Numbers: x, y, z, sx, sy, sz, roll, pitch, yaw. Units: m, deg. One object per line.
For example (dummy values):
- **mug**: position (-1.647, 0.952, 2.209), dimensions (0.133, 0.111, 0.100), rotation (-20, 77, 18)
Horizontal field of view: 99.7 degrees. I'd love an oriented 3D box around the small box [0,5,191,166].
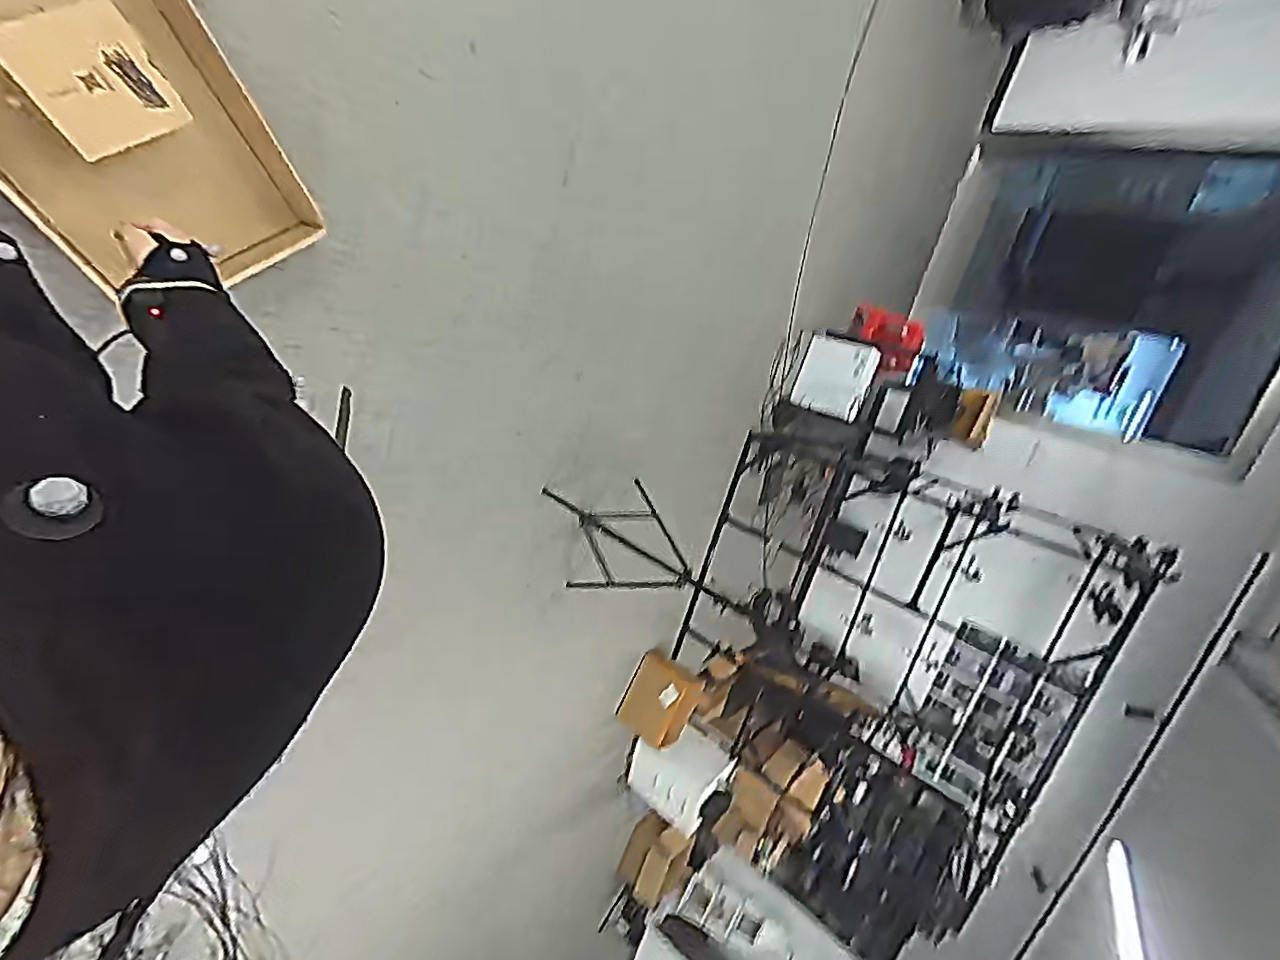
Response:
- **small box**: position (-0.891, -0.629, 0.867), dimensions (0.179, 0.176, 0.168), rotation (-46, 142, -25)
